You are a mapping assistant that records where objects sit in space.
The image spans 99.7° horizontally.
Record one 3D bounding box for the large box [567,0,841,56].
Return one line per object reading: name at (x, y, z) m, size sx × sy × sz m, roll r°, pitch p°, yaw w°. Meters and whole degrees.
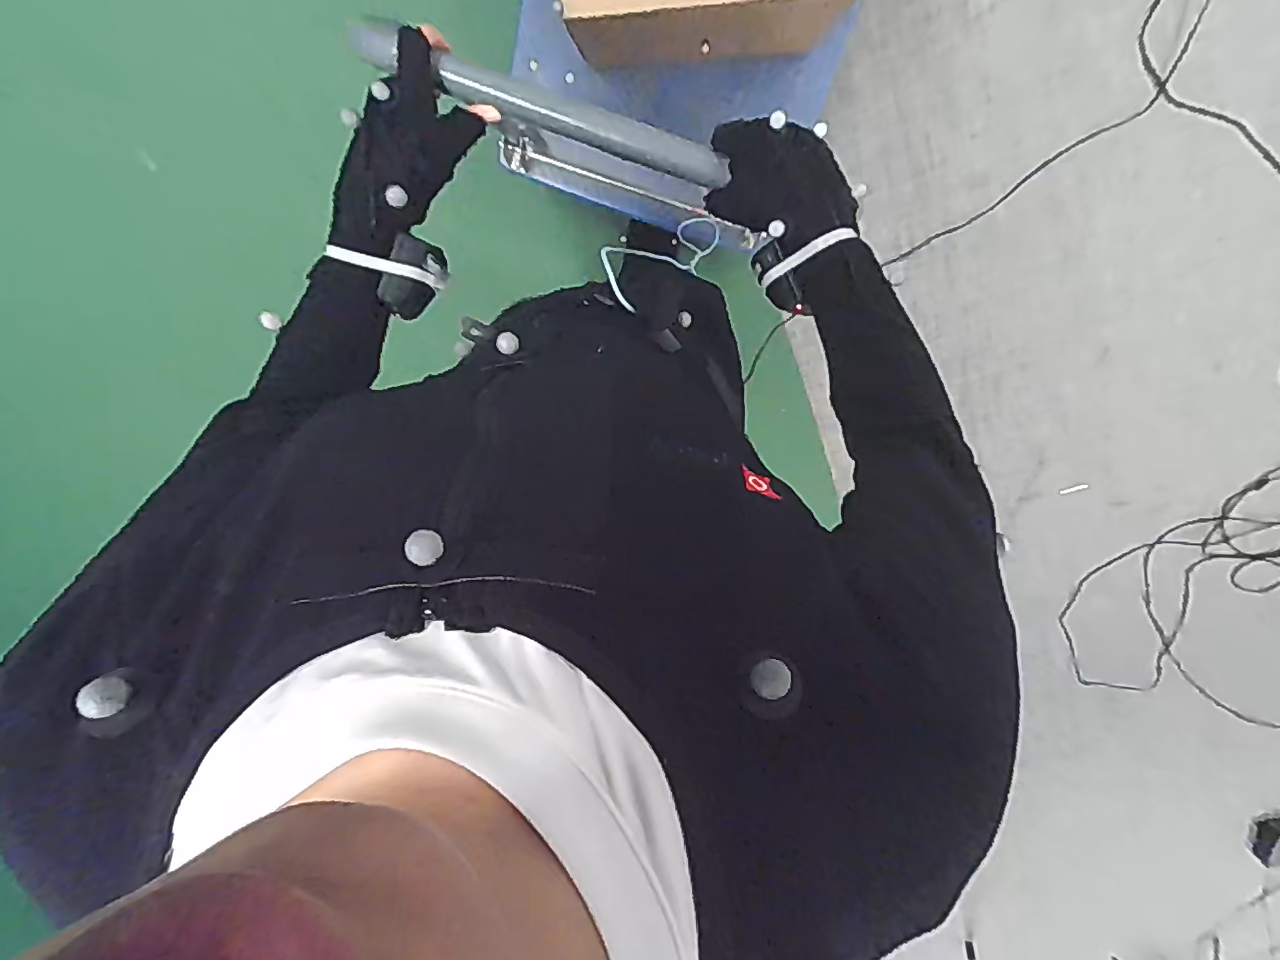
large box at (0.098, -0.852, 0.780) m, size 0.408 × 0.320 × 0.320 m, roll -2°, pitch 117°, yaw 5°
